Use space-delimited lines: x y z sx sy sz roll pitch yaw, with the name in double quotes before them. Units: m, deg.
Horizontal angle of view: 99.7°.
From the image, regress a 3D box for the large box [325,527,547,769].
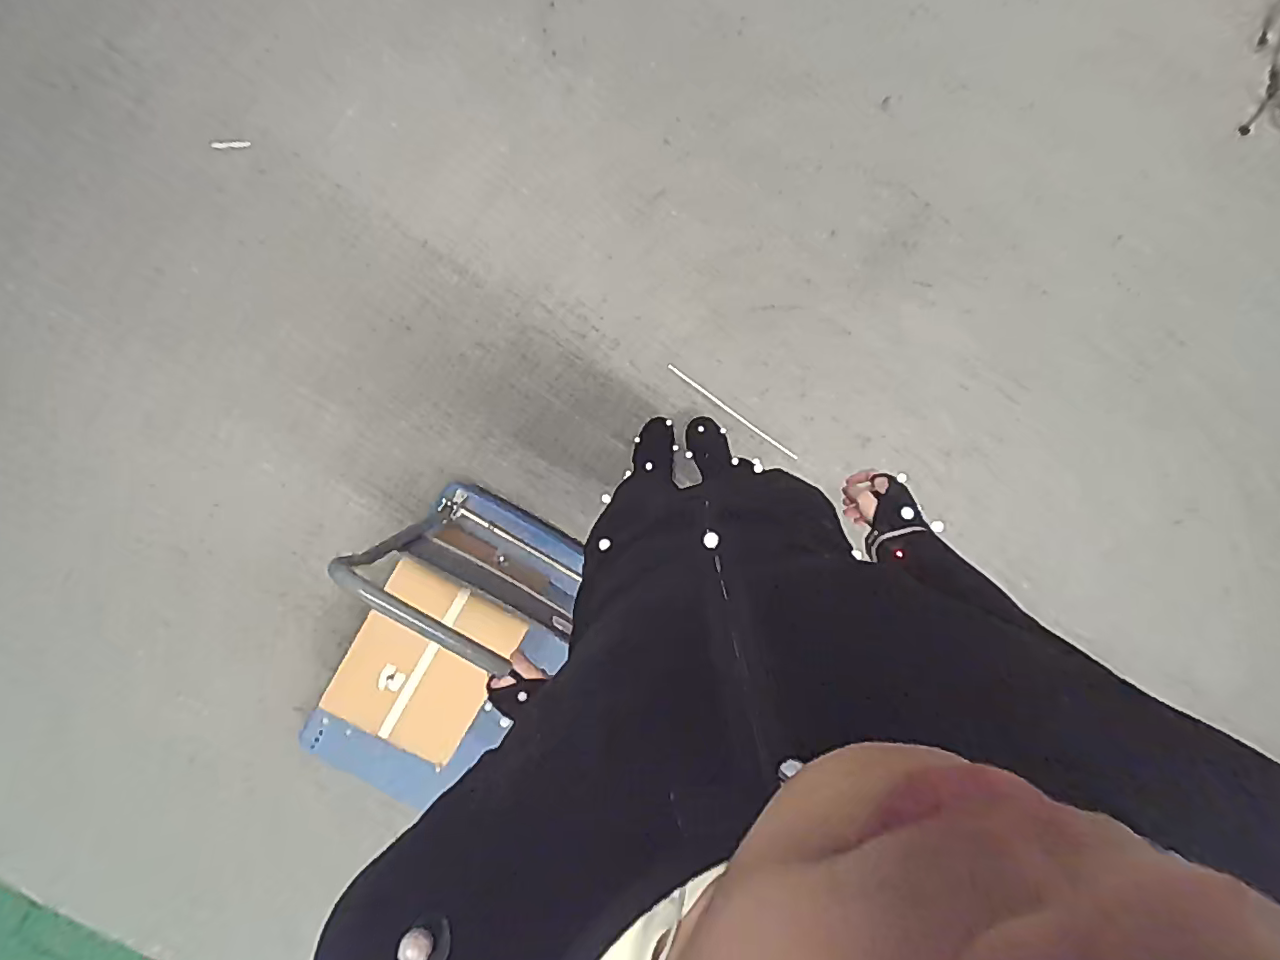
"large box" -0.464 0.380 1.315 0.320 0.320 0.408 31 94 -6
